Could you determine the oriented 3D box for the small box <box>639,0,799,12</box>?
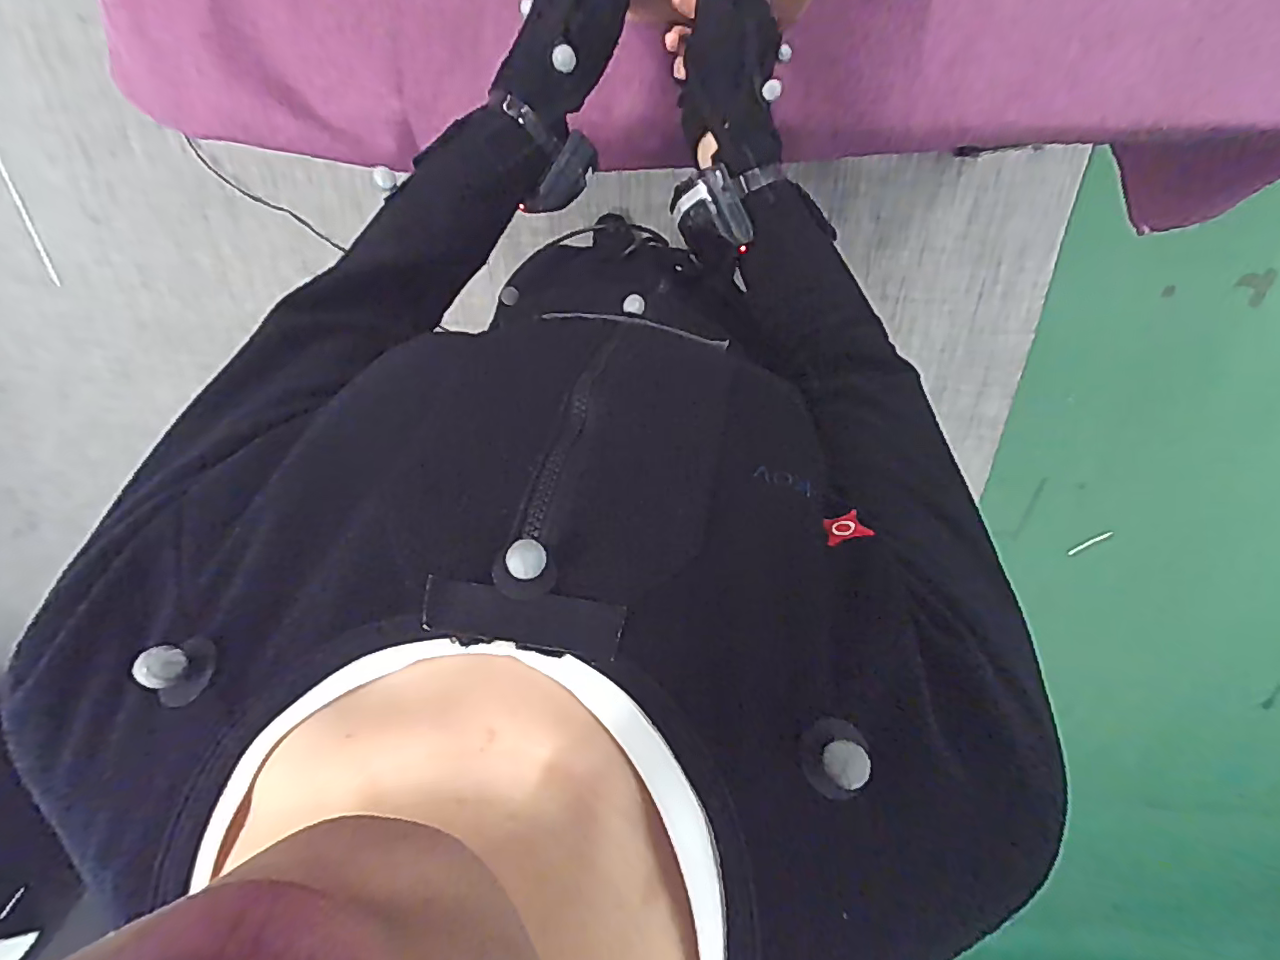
[{"bbox_3d":[0.066,-0.485,0.408,0.168,0.176,0.179,3,117,3],"label":"small box"}]
